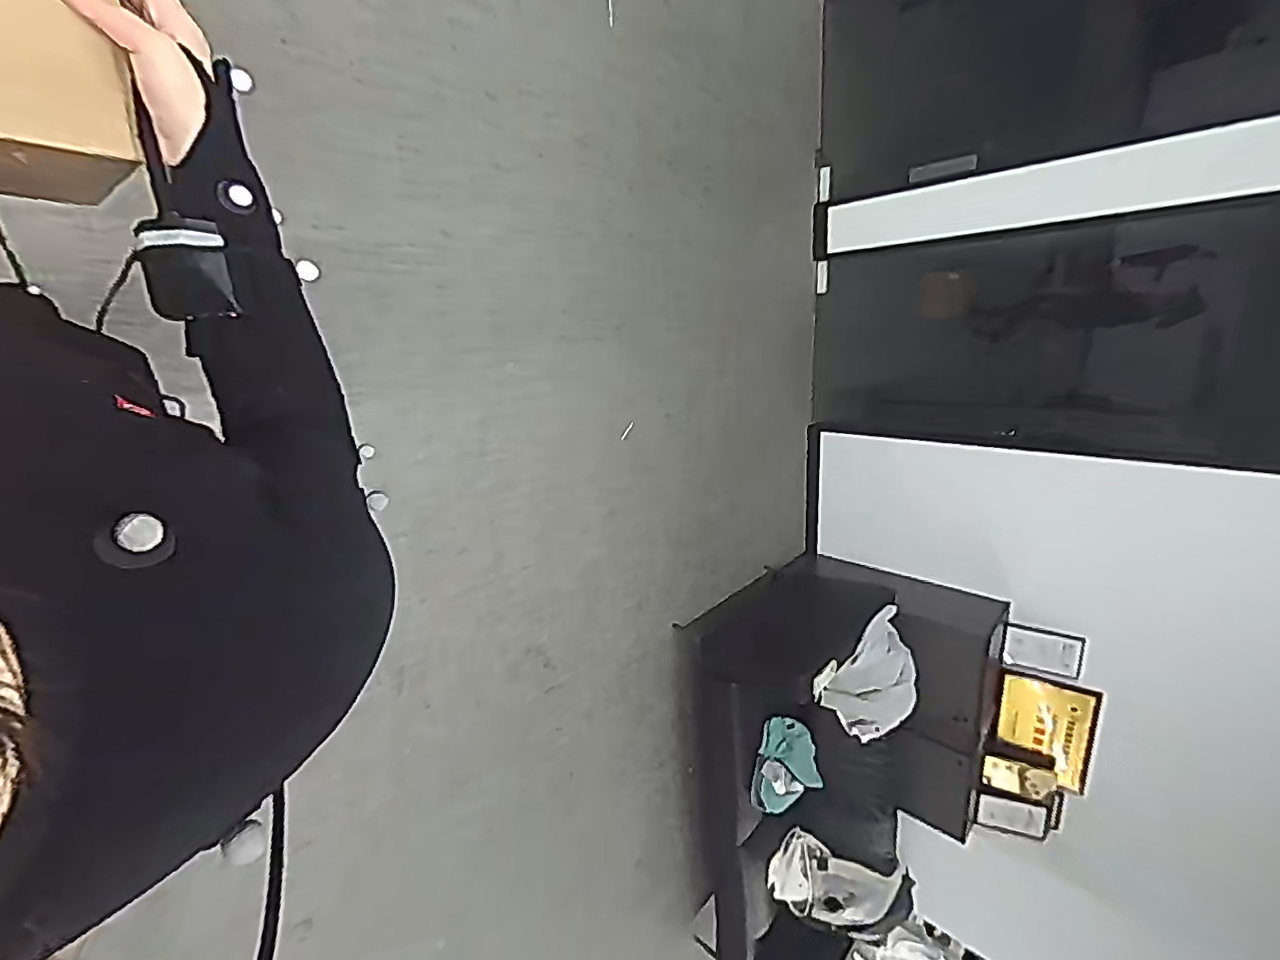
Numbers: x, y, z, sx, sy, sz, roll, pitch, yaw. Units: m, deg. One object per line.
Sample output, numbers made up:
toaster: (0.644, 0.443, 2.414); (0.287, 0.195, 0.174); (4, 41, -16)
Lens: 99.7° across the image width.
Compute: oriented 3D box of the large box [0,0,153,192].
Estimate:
large box: (-0.576, -0.368, 0.280); (0.408, 0.320, 0.320); (-17, 116, -47)
